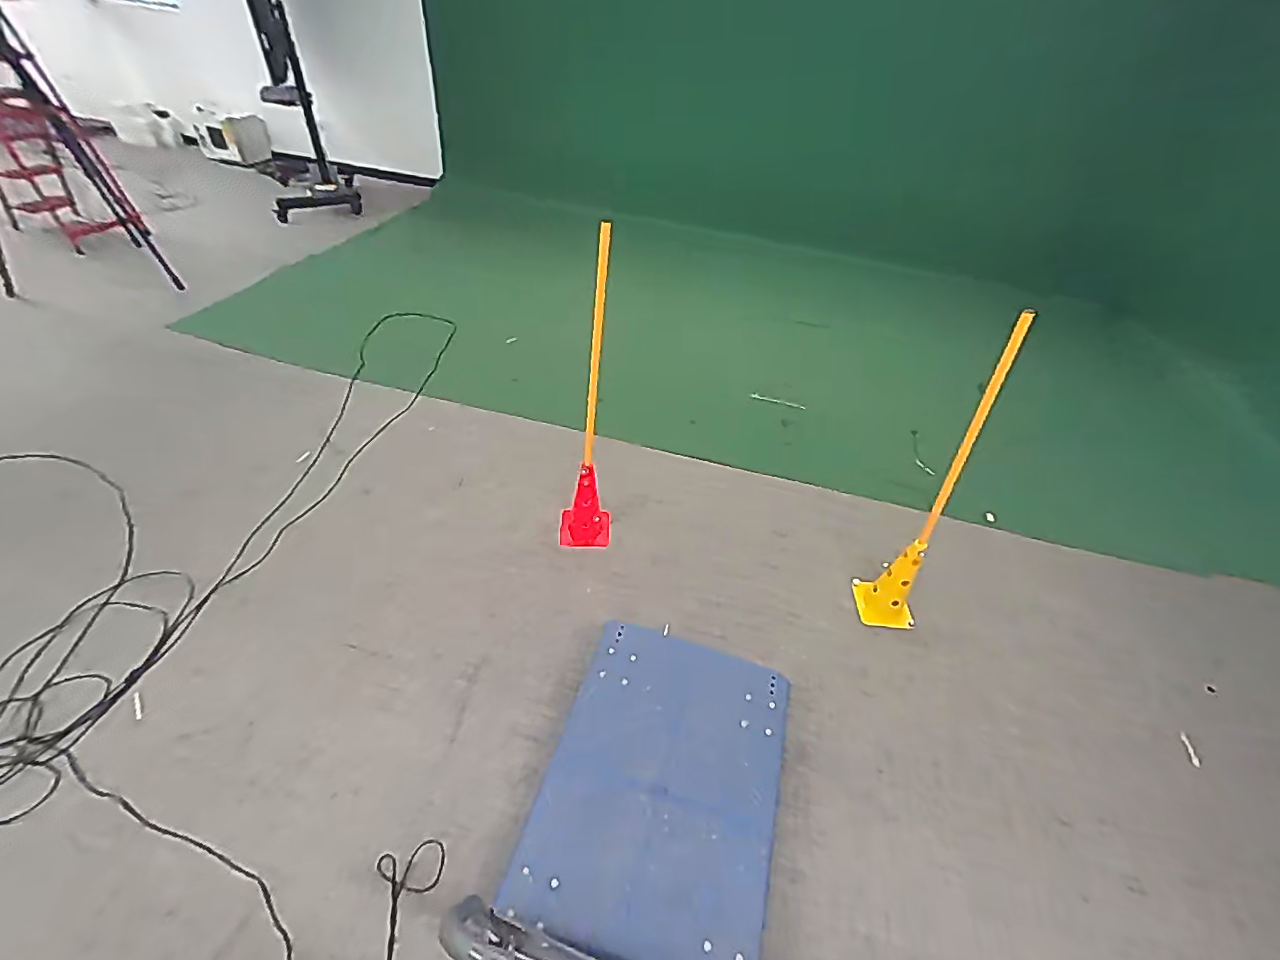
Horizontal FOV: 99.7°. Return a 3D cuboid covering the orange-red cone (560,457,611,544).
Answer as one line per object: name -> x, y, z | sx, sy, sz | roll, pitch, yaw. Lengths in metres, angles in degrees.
orange-red cone -> -0.209, 0.060, 2.084 | 0.199, 0.360, 0.198 | 3, 42, -3
